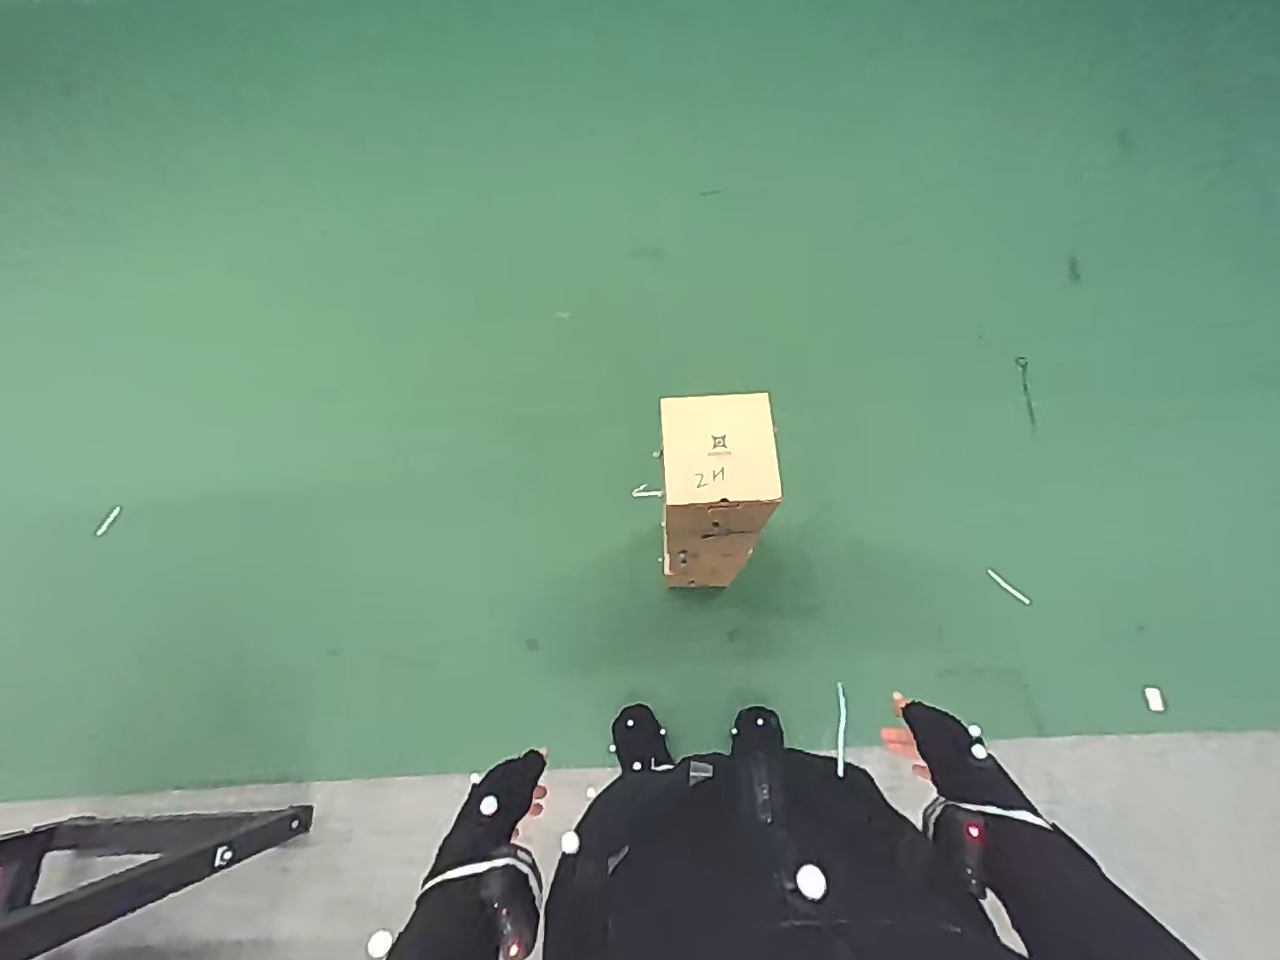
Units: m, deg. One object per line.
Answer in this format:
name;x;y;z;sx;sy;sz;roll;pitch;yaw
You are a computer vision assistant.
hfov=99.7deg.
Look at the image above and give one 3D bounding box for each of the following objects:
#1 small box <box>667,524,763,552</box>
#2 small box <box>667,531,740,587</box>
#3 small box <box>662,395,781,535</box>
small box;0.134;0.038;1.027;0.168;0.176;0.179;-2;69;2
small box;0.150;0.162;1.332;0.168;0.176;0.179;-1;71;2
small box;0.121;-0.019;0.872;0.168;0.176;0.179;-3;70;2
